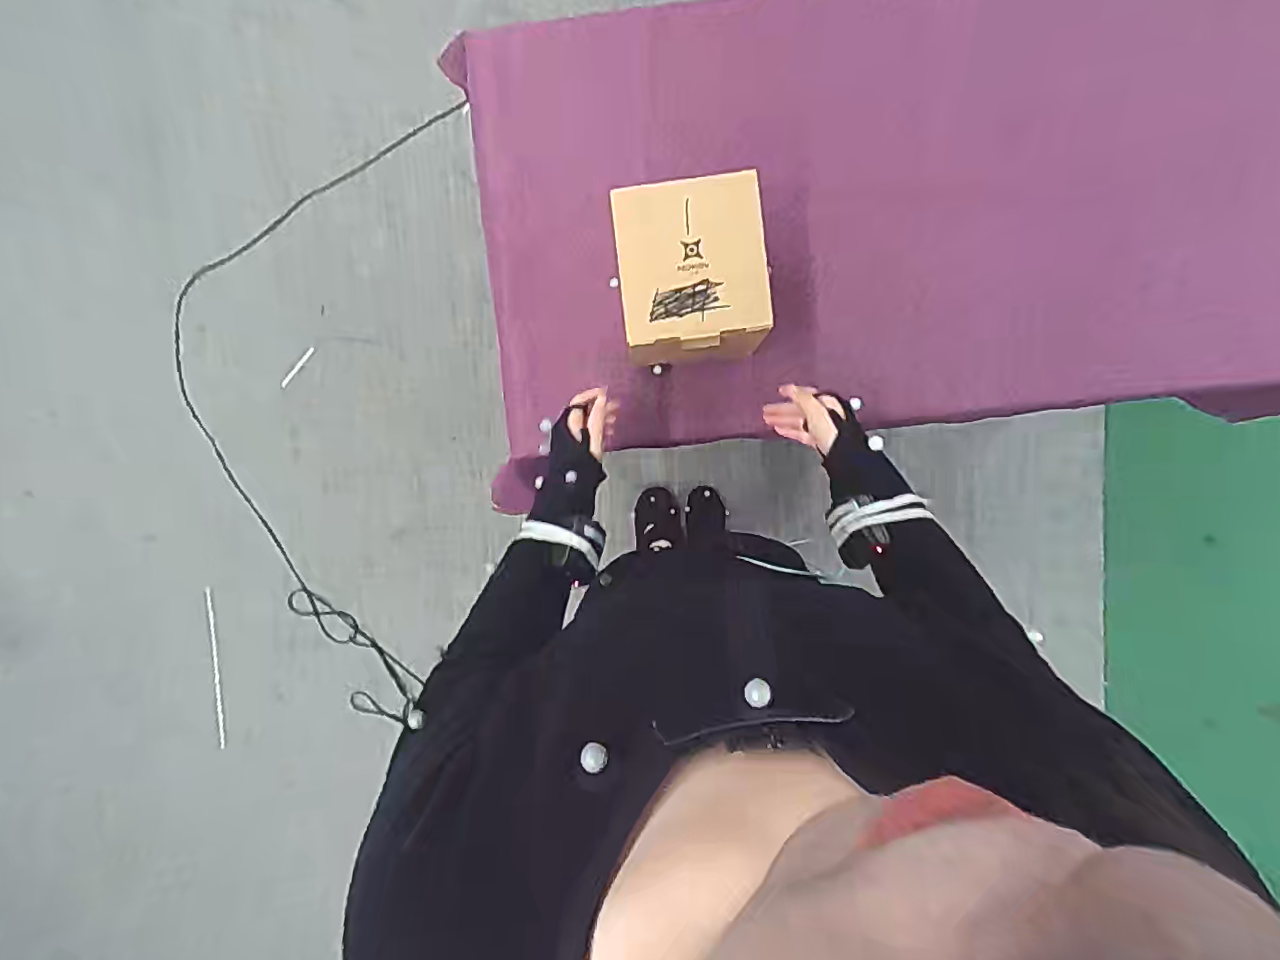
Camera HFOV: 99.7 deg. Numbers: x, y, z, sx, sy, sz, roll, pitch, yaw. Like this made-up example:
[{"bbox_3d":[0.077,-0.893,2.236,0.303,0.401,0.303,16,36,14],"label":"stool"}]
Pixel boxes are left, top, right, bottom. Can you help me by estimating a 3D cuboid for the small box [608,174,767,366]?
[{"bbox_3d":[0.058,-0.246,0.681,0.168,0.176,0.179,-6,91,2],"label":"small box"}]
